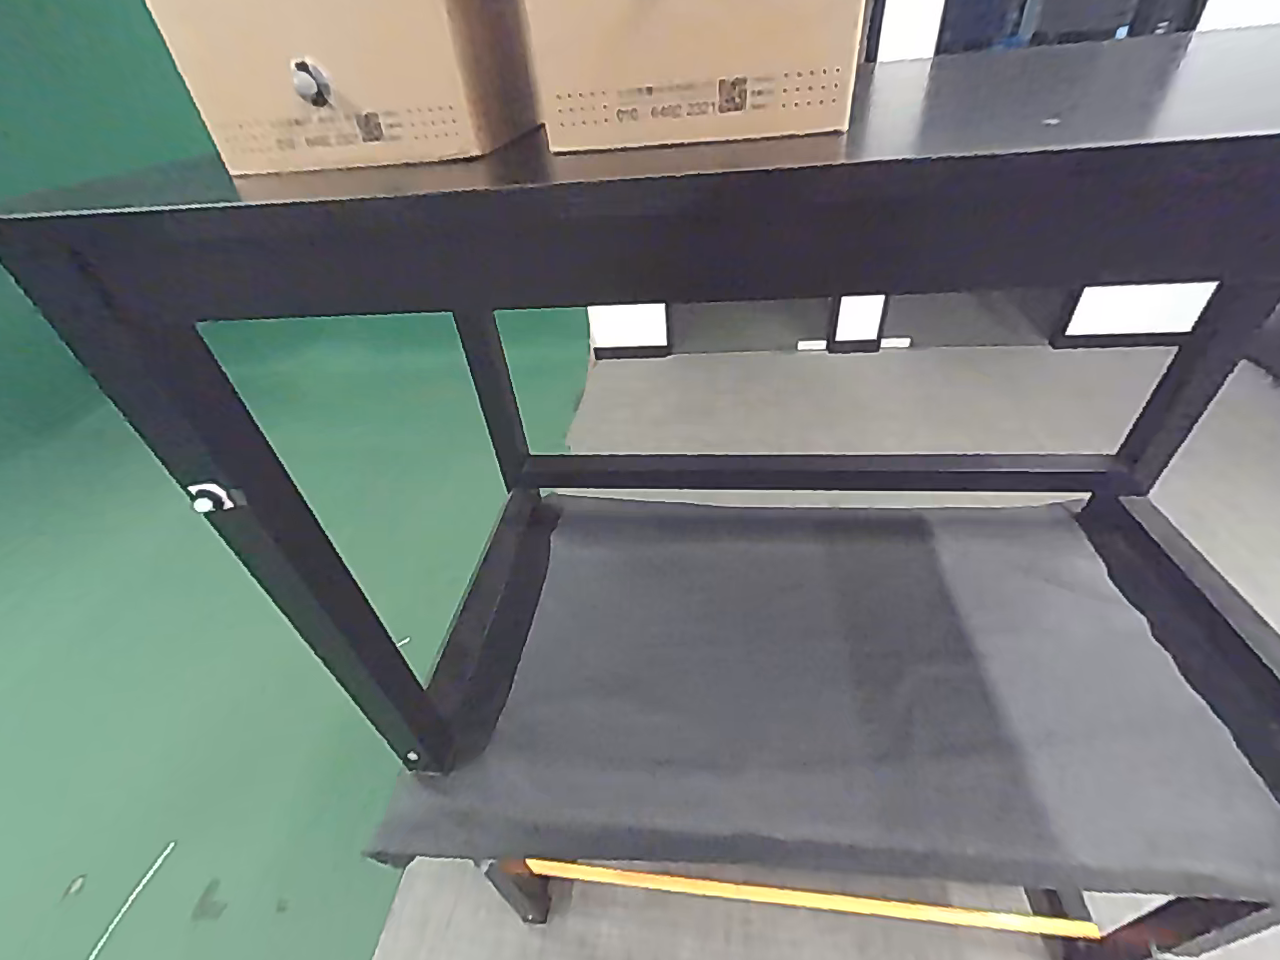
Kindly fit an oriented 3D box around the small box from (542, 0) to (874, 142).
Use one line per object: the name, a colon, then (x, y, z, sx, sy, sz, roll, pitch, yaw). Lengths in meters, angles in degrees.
small box: (0.040, -0.300, 0.306, 0.168, 0.176, 0.179, 2, 40, 9)
